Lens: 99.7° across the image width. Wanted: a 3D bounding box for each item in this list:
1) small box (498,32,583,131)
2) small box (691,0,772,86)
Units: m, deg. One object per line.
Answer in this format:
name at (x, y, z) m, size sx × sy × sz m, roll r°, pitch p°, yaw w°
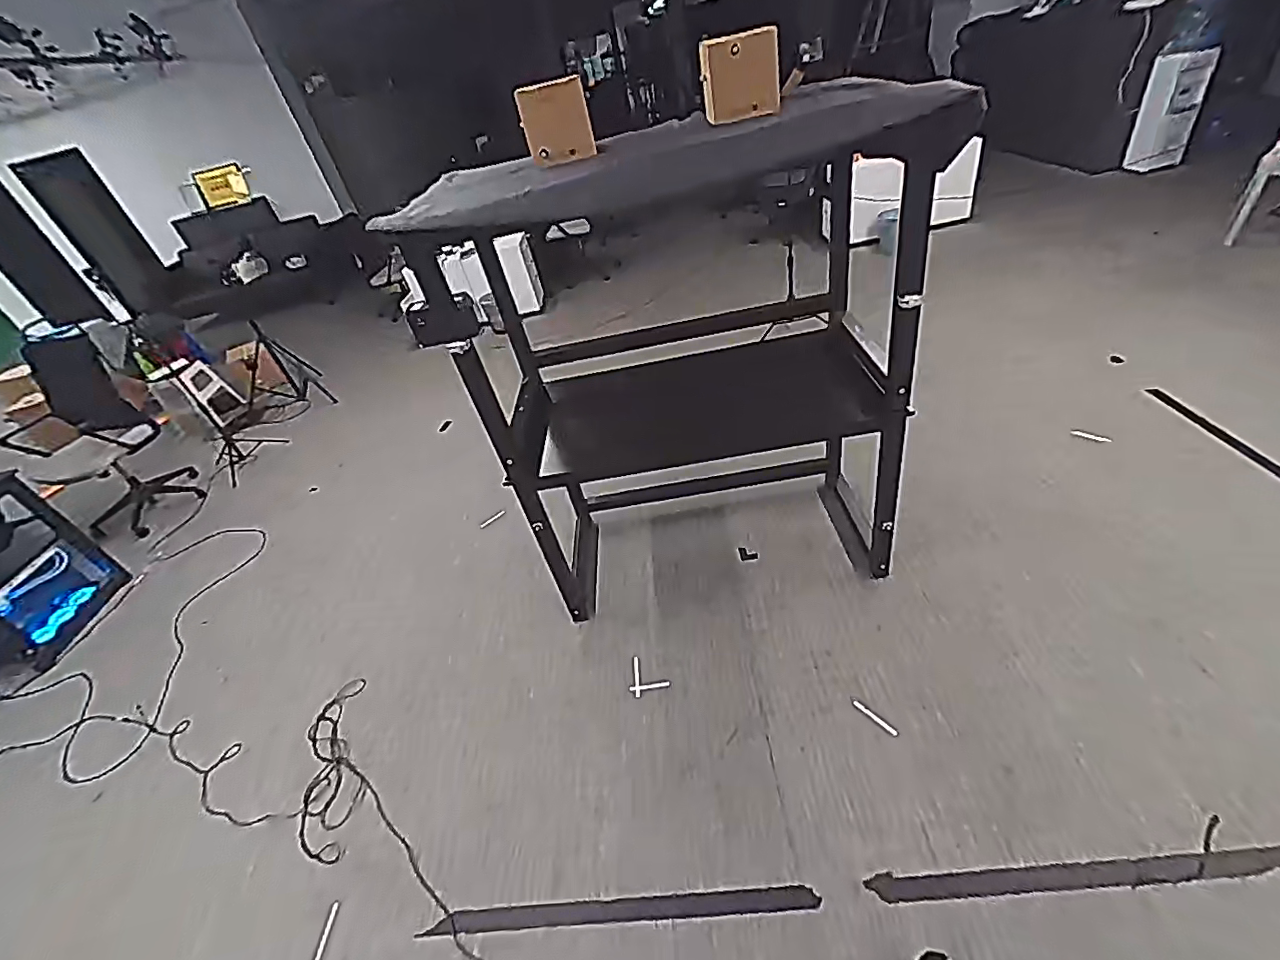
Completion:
small box at (-0.242, -0.993, 1.353) m, size 0.168 × 0.176 × 0.179 m, roll -12°, pitch 39°, yaw 2°
small box at (0.221, -1.077, 1.314) m, size 0.168 × 0.176 × 0.179 m, roll -10°, pitch 39°, yaw 6°
